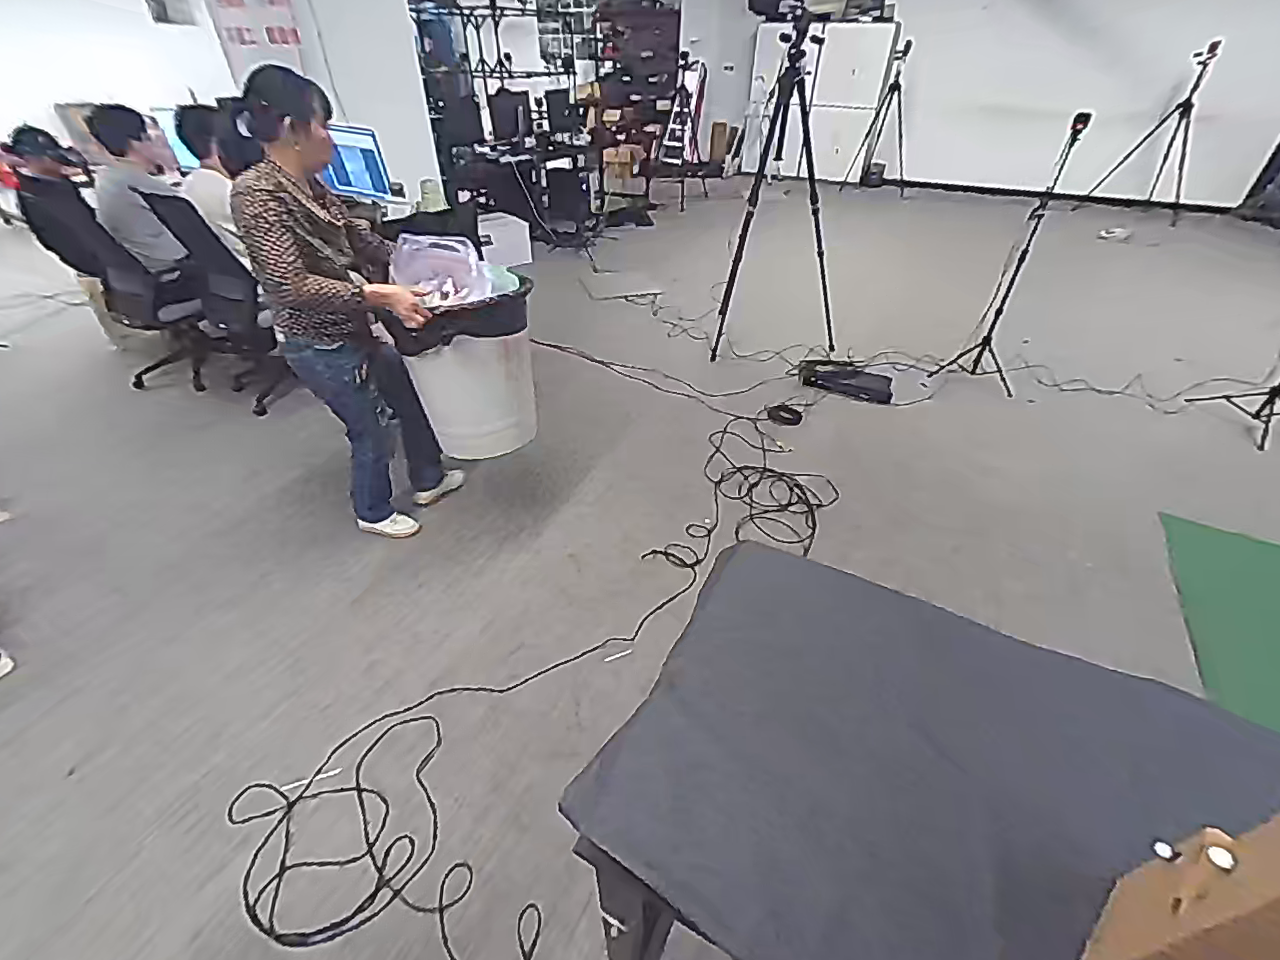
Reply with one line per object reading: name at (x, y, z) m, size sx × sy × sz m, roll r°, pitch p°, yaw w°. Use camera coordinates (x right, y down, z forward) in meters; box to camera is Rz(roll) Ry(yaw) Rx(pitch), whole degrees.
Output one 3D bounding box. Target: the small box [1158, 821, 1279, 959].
small box at (0.570, 0.374, 0.408) m, size 0.168 × 0.176 × 0.179 m, roll -19°, pitch 42°, yaw -24°
